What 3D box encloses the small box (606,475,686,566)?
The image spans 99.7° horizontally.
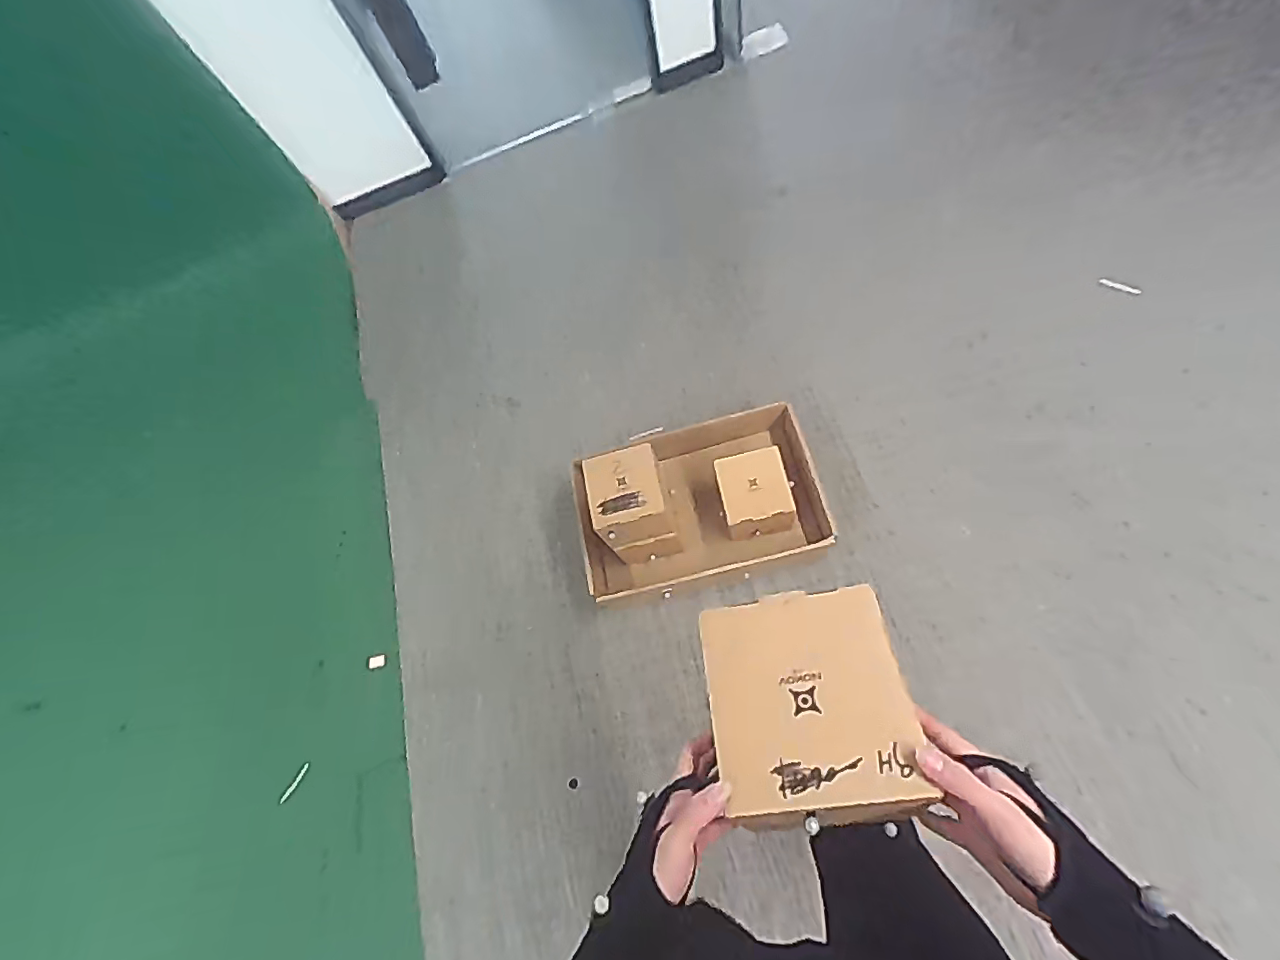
[{"bbox_3d":[0.018,0.112,1.429,0.168,0.176,0.179,-14,66,7],"label":"small box"}]

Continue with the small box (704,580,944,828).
[{"bbox_3d":[0.162,0.221,0.523,0.168,0.176,0.179,-11,52,10],"label":"small box"}]
